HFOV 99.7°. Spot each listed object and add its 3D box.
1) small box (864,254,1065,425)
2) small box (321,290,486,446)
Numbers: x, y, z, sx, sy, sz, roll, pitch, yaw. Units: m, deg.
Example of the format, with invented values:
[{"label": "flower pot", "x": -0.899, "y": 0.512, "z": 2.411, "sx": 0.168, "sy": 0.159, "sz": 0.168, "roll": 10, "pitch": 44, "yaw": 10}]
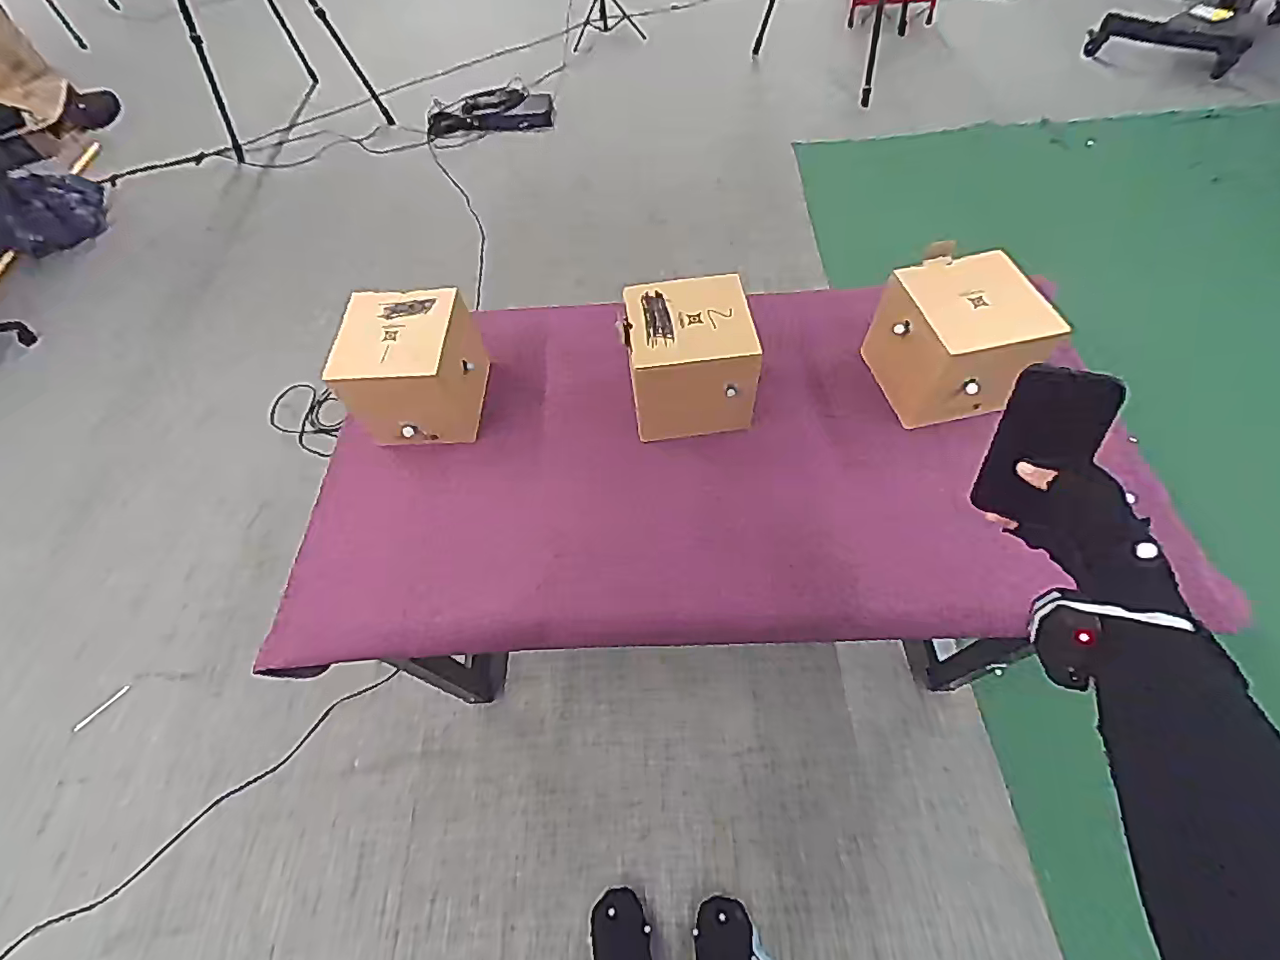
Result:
[{"label": "small box", "x": 0.462, "y": -0.199, "z": 0.804, "sx": 0.168, "sy": 0.176, "sz": 0.179, "roll": -12, "pitch": 58, "yaw": -2}, {"label": "small box", "x": -0.352, "y": -0.171, "z": 0.846, "sx": 0.168, "sy": 0.176, "sz": 0.179, "roll": -2, "pitch": 60, "yaw": 3}]
